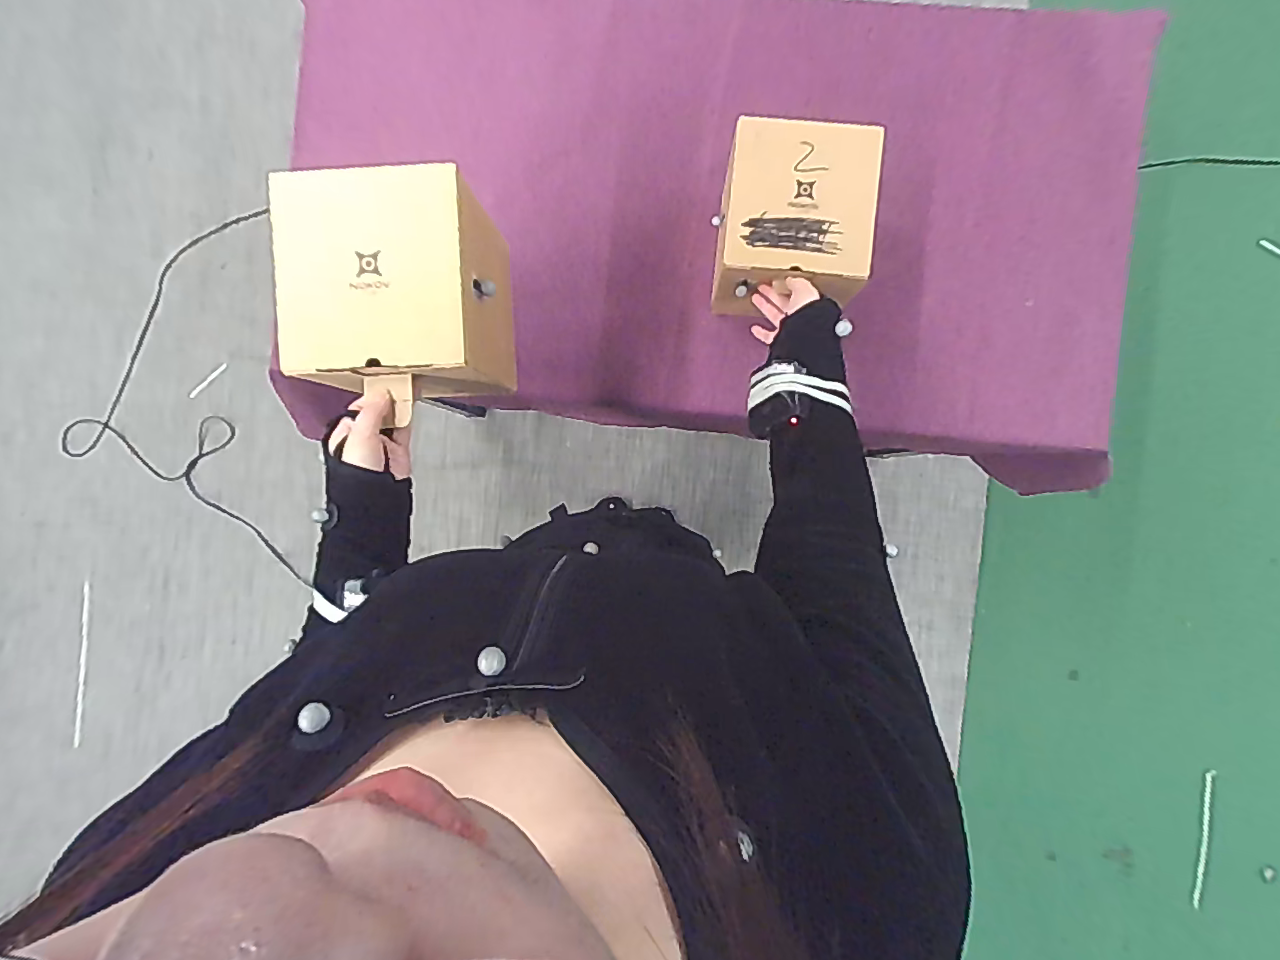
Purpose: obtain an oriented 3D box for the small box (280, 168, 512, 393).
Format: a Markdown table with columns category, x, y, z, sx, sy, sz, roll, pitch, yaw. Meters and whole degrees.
| category | x | y | z | sx | sy | sz | roll | pitch | yaw |
| --- | --- | --- | --- | --- | --- | --- | --- | --- | --- |
| small box | -0.236 | -0.191 | 0.563 | 0.168 | 0.176 | 0.179 | -2 | 92 | 1 |
